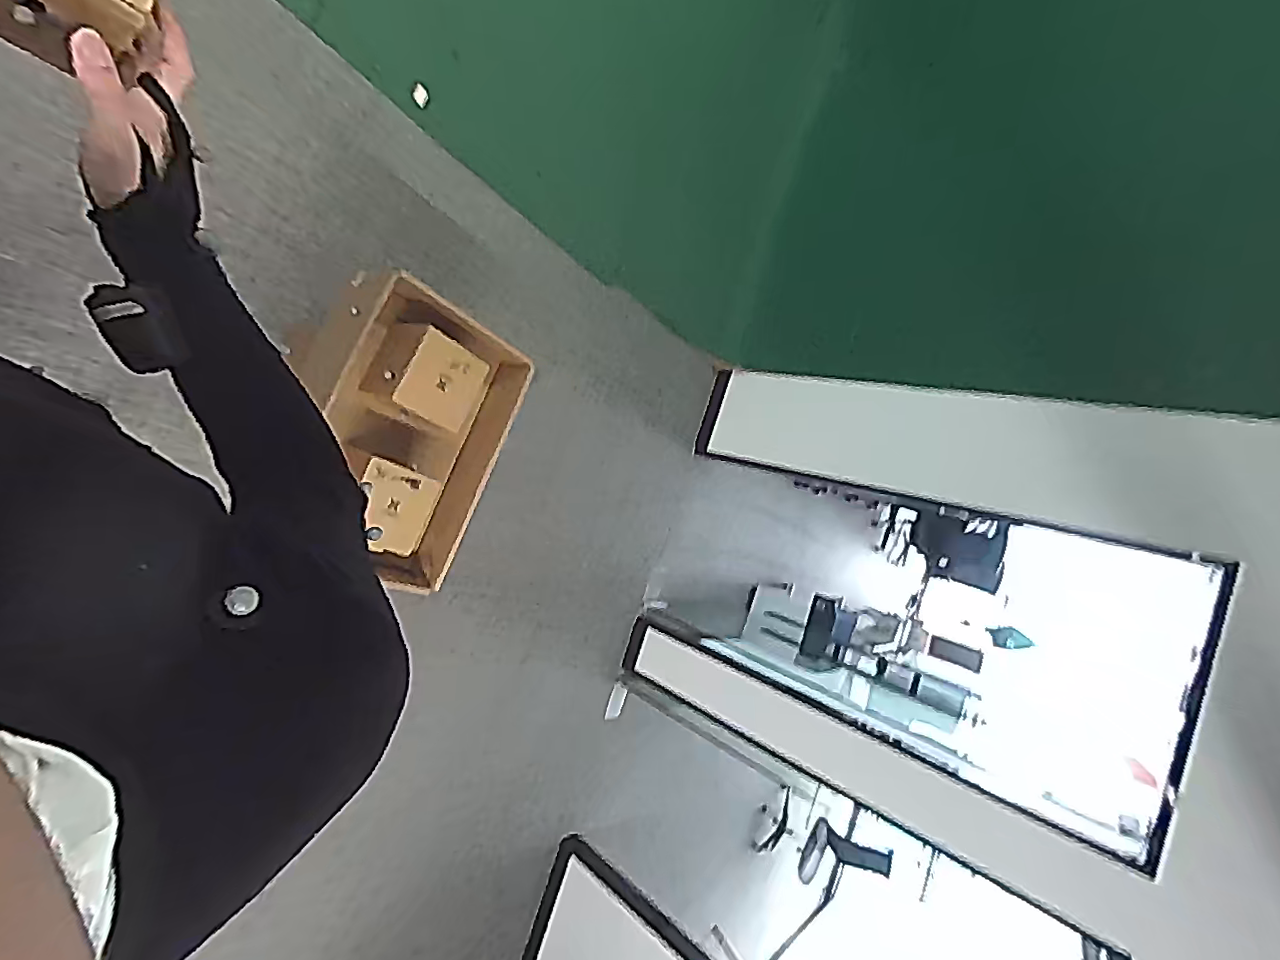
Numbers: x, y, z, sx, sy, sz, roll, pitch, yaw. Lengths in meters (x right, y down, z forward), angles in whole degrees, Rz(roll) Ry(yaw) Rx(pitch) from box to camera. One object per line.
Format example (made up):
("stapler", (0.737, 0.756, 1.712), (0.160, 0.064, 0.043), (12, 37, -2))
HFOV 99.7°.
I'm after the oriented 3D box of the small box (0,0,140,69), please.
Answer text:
("small box", (-0.425, -0.415, 0.342), (0.168, 0.176, 0.179), (15, 85, -56))
